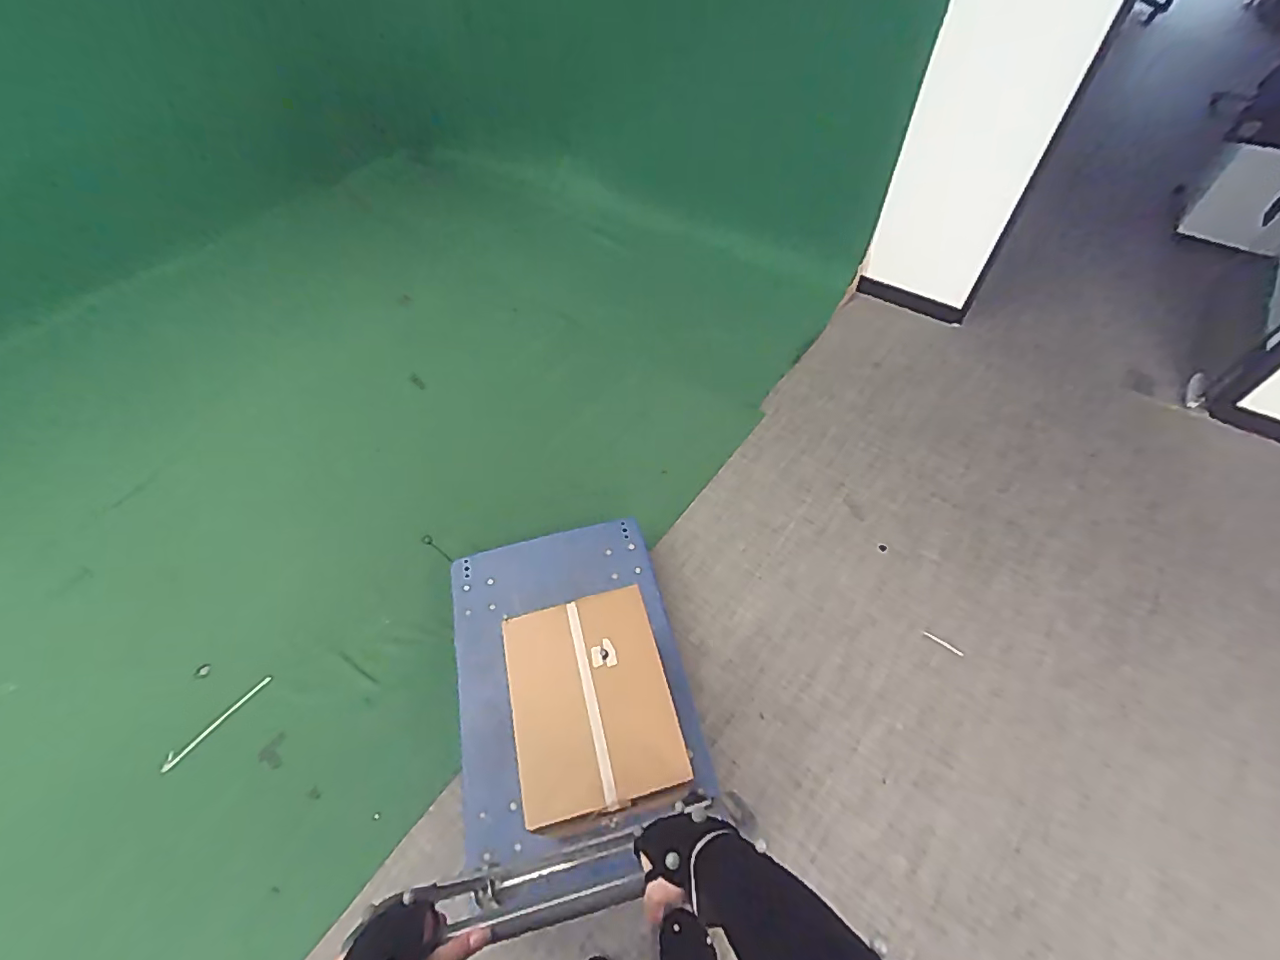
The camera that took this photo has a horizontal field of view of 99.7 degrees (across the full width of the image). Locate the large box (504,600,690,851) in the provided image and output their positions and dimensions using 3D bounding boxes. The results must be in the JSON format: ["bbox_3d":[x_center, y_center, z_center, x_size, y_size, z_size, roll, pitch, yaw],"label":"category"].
[{"bbox_3d":[-0.095,0.548,1.214,0.320,0.320,0.408,-13,53,-7],"label":"large box"}]
